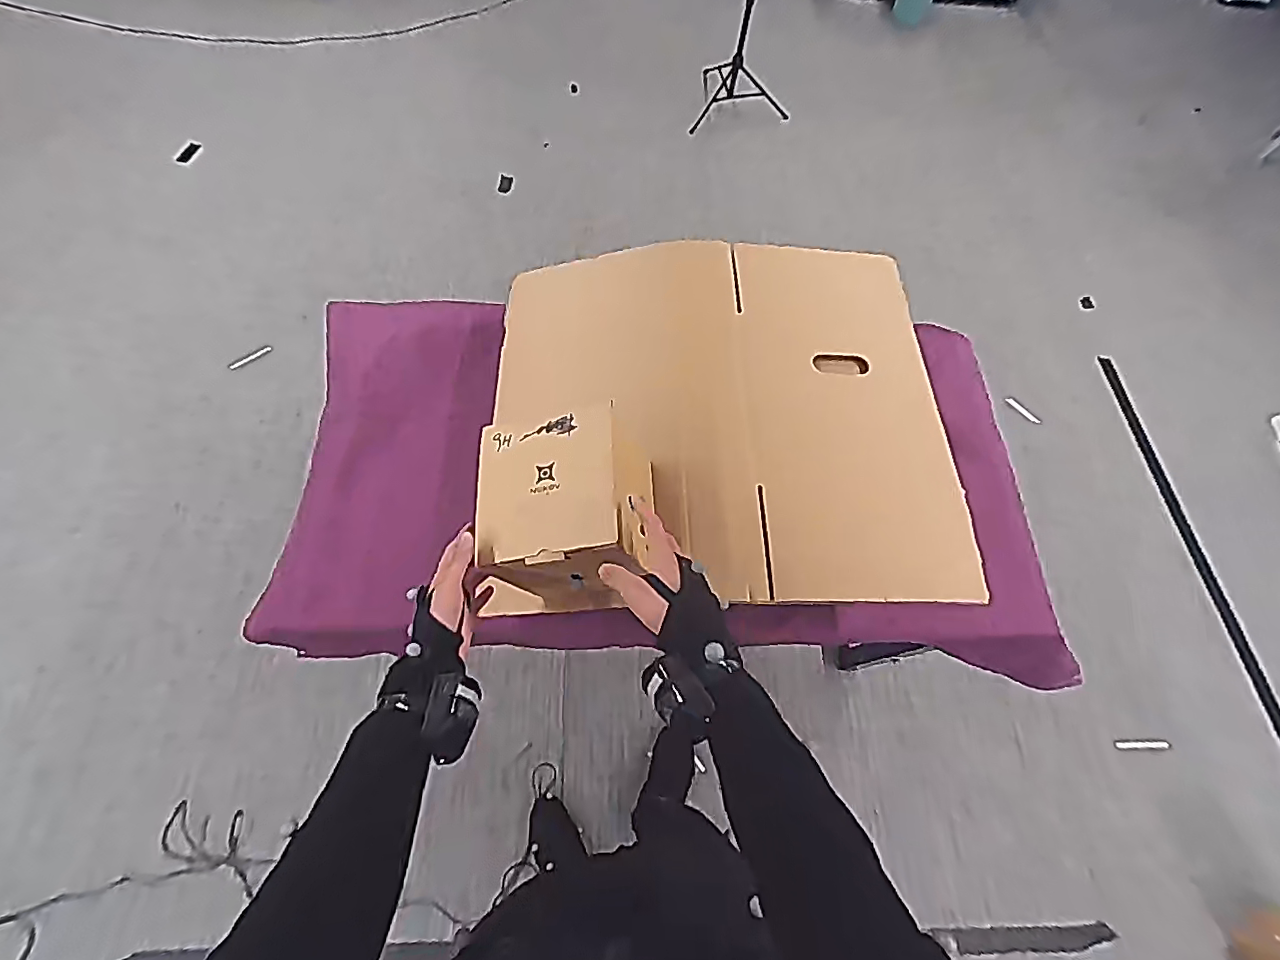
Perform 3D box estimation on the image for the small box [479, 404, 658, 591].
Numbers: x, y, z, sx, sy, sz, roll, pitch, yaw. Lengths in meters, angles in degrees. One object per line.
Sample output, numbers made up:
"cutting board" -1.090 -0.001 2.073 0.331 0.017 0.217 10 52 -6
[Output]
"small box" -0.079 0.034 0.669 0.168 0.176 0.179 -10 65 13
